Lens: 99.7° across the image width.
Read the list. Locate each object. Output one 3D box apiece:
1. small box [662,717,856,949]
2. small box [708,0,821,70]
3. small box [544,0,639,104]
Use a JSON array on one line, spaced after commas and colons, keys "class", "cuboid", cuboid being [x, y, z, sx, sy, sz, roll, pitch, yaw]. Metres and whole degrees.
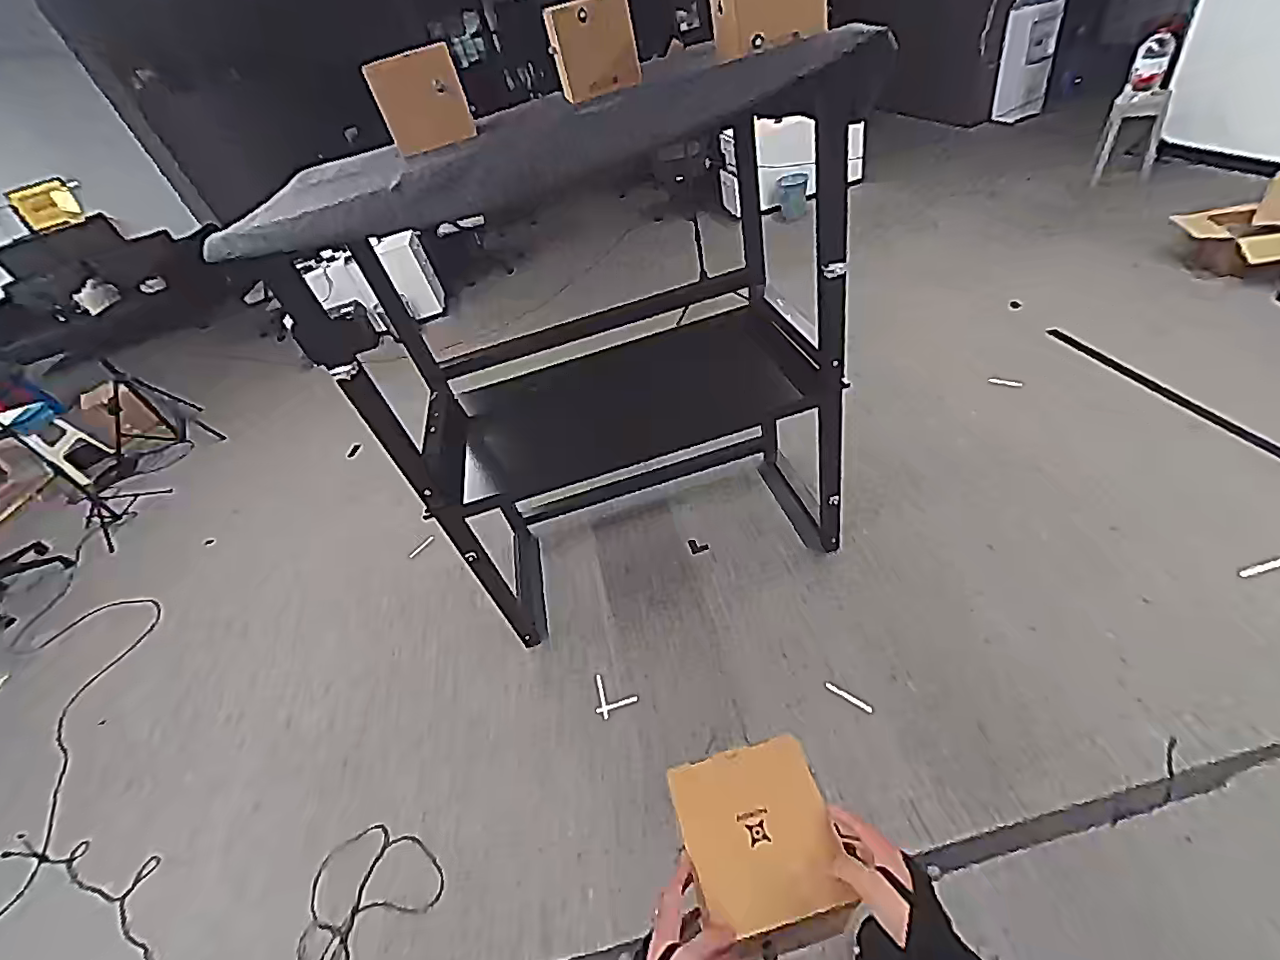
[{"class": "small box", "cuboid": [0.133, 0.426, 0.650, 0.168, 0.176, 0.179, -14, 39, -6]}, {"class": "small box", "cuboid": [0.232, -0.900, 1.021, 0.168, 0.176, 0.179, -16, 37, 2]}, {"class": "small box", "cuboid": [-0.110, -0.980, 1.235, 0.168, 0.176, 0.179, -18, 41, -1]}]
